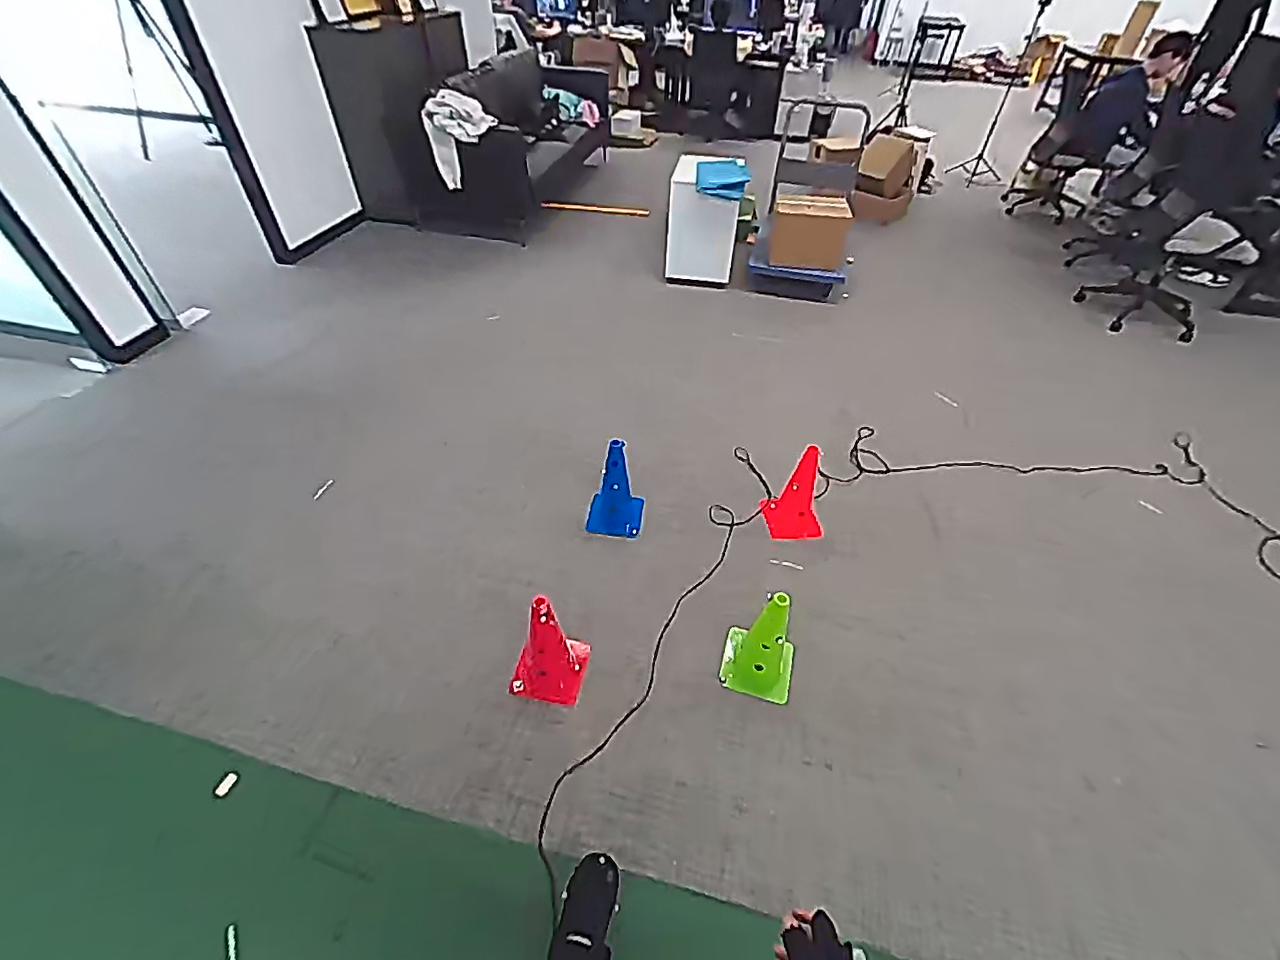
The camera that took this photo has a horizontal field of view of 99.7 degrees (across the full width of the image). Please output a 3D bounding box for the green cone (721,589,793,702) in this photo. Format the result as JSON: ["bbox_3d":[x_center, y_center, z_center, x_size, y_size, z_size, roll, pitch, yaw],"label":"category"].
[{"bbox_3d":[0.358,0.426,1.495,0.200,0.368,0.202,13,44,10],"label":"green cone"}]

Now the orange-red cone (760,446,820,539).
[{"bbox_3d":[0.568,0.023,1.918,0.198,0.360,0.199,-3,46,-3],"label":"orange-red cone"}]
